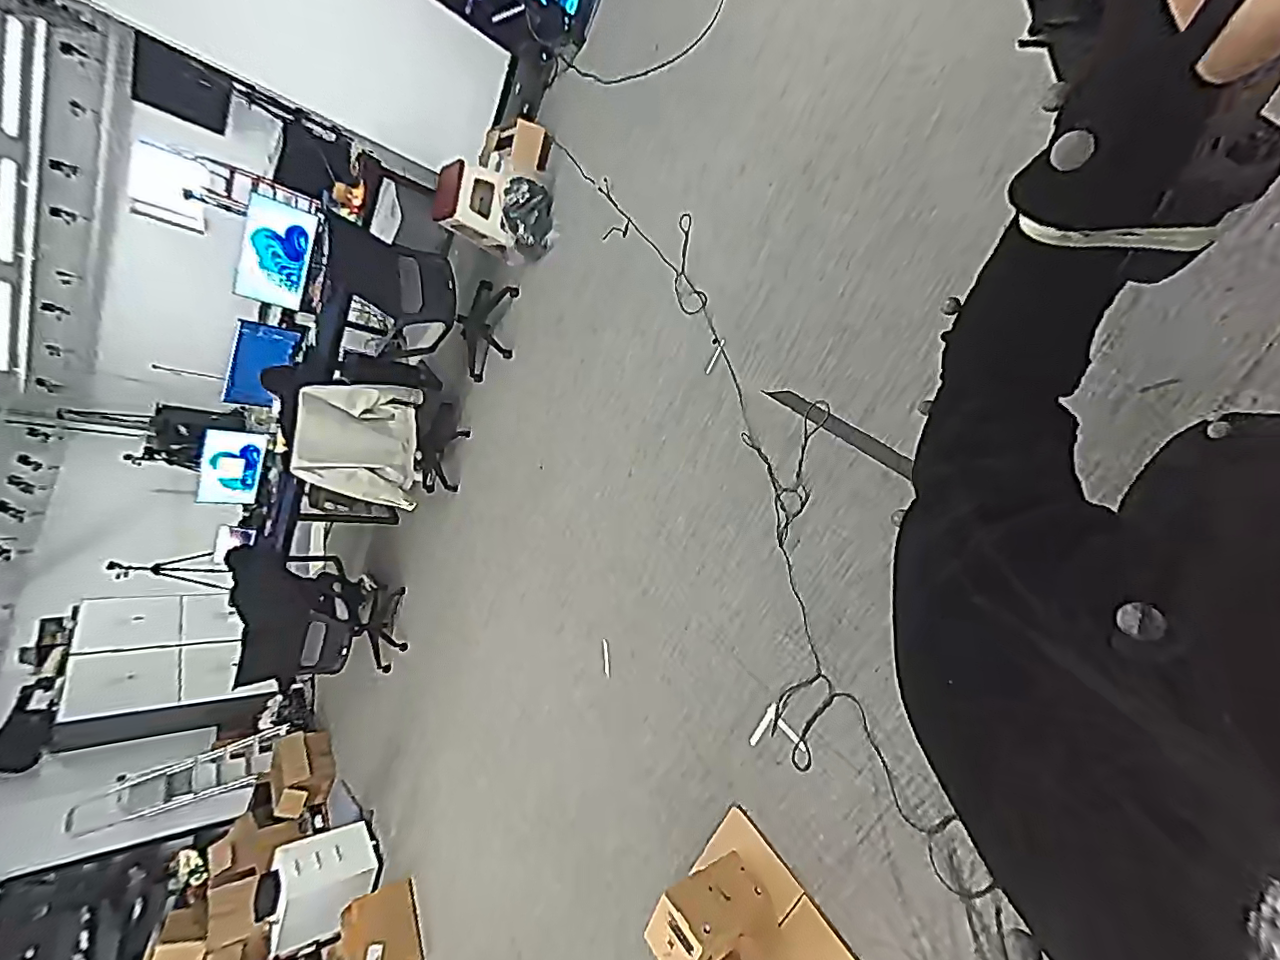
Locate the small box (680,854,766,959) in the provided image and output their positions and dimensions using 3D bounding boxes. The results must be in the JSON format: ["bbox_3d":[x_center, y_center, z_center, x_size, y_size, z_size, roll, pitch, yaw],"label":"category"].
[{"bbox_3d":[0.258,1.301,1.656,0.168,0.176,0.179,36,111,43],"label":"small box"}]

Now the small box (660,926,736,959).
[{"bbox_3d":[0.181,1.545,1.708,0.179,0.176,0.168,36,111,43],"label":"small box"}]
